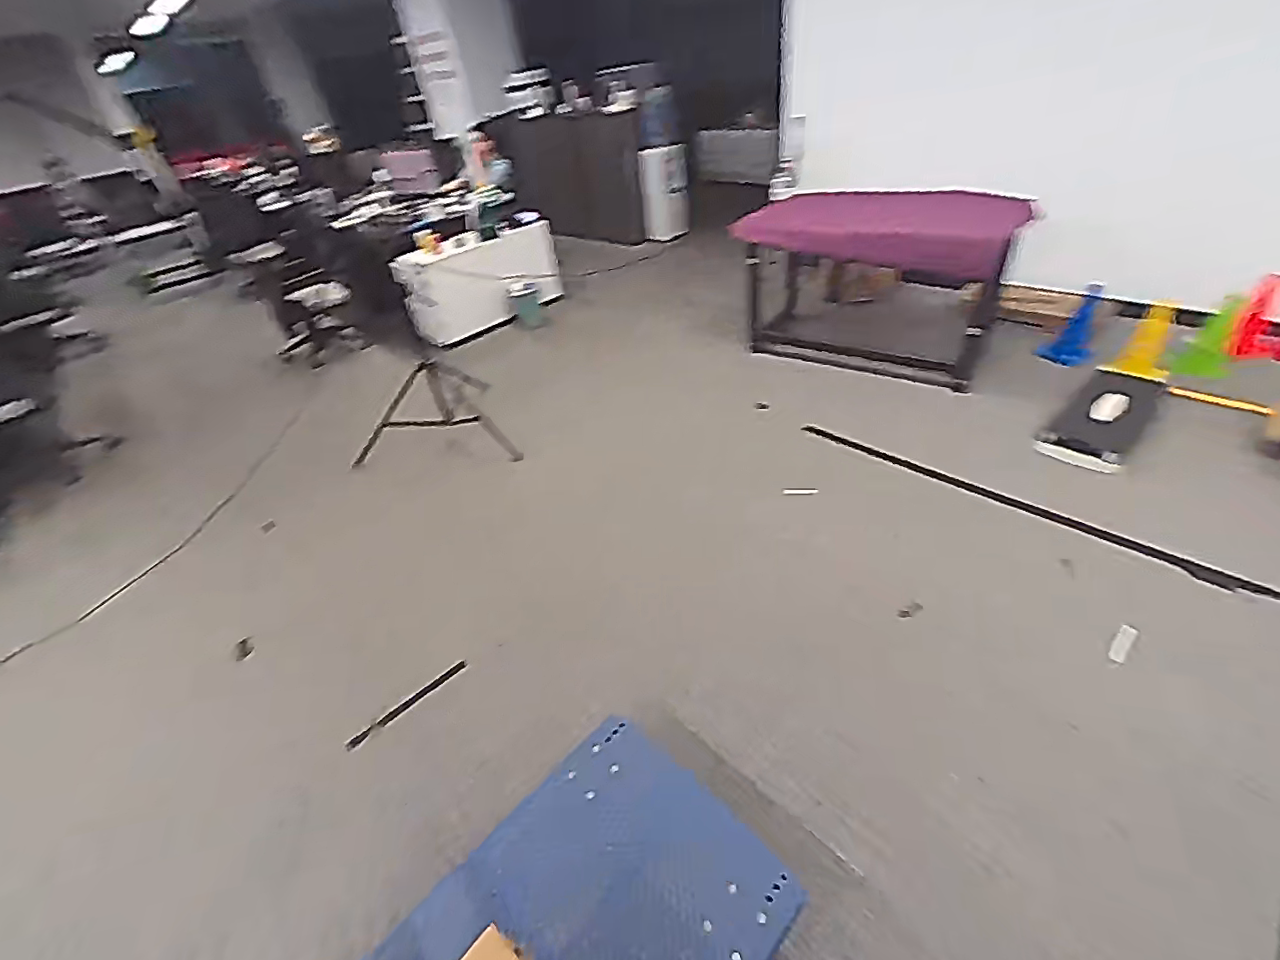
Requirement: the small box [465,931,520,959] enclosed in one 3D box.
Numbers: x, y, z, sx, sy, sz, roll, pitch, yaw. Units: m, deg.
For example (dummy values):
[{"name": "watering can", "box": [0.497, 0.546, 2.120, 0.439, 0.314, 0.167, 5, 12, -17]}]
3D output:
[{"name": "small box", "box": [-0.207, 0.817, 0.775, 0.179, 0.176, 0.168, 25, 49, 35]}]
